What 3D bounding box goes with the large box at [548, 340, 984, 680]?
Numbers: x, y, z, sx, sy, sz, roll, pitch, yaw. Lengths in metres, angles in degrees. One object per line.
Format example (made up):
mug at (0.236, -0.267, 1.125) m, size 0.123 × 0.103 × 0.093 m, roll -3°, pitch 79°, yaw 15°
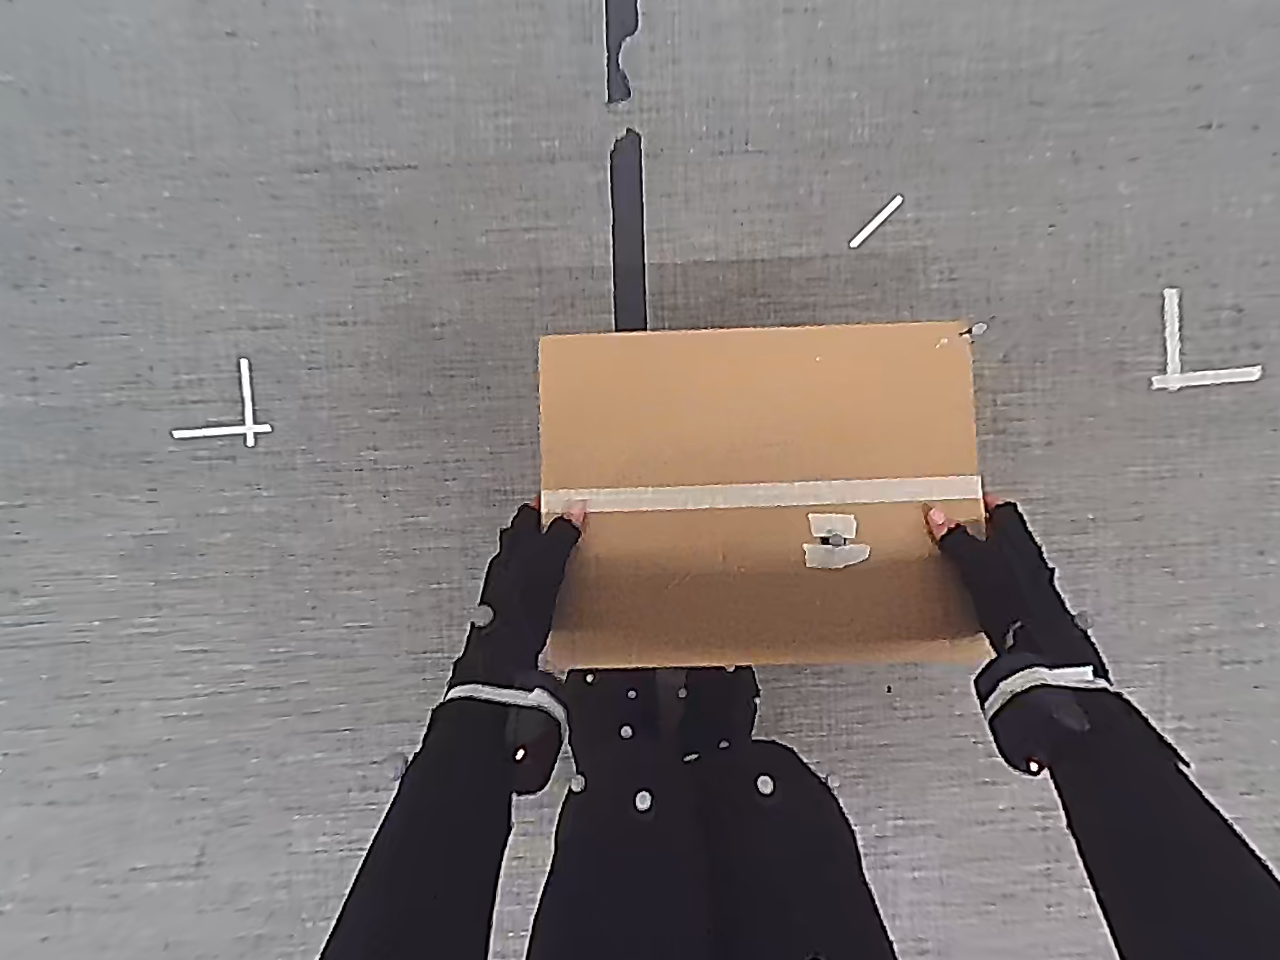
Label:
large box at (0.117, 0.036, 0.660) m, size 0.408 × 0.320 × 0.320 m, roll -2°, pitch 87°, yaw 1°
